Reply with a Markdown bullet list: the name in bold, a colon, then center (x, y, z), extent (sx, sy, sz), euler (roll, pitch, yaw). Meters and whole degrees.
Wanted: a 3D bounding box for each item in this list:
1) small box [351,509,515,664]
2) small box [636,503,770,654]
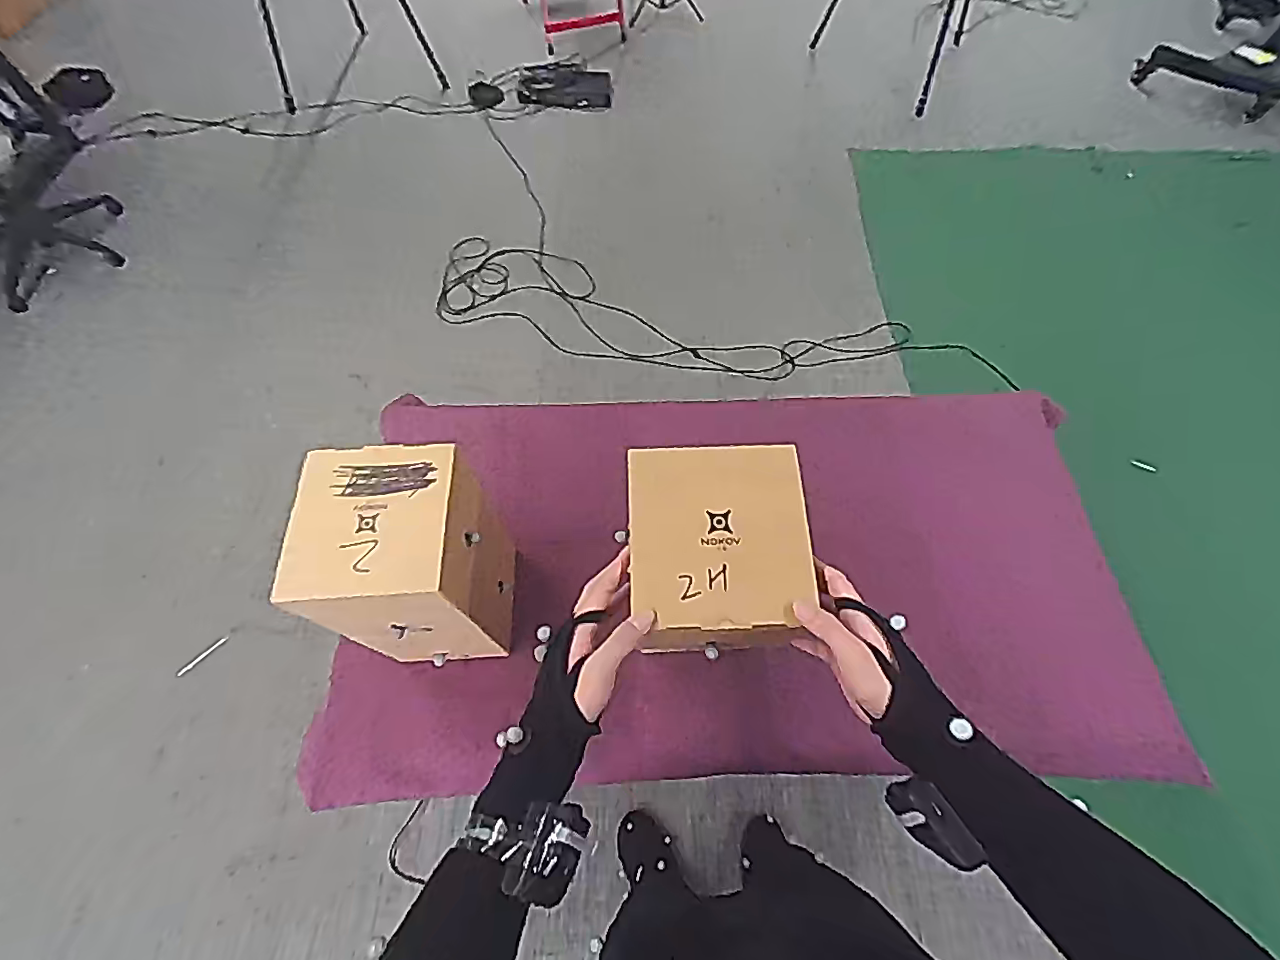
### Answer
- **small box**: center (-0.279, 0.157, 0.776), extent (0.168, 0.176, 0.179), euler (-2, 62, -2)
- **small box**: center (0.081, 0.150, 0.785), extent (0.168, 0.176, 0.179), euler (-2, 61, -1)
